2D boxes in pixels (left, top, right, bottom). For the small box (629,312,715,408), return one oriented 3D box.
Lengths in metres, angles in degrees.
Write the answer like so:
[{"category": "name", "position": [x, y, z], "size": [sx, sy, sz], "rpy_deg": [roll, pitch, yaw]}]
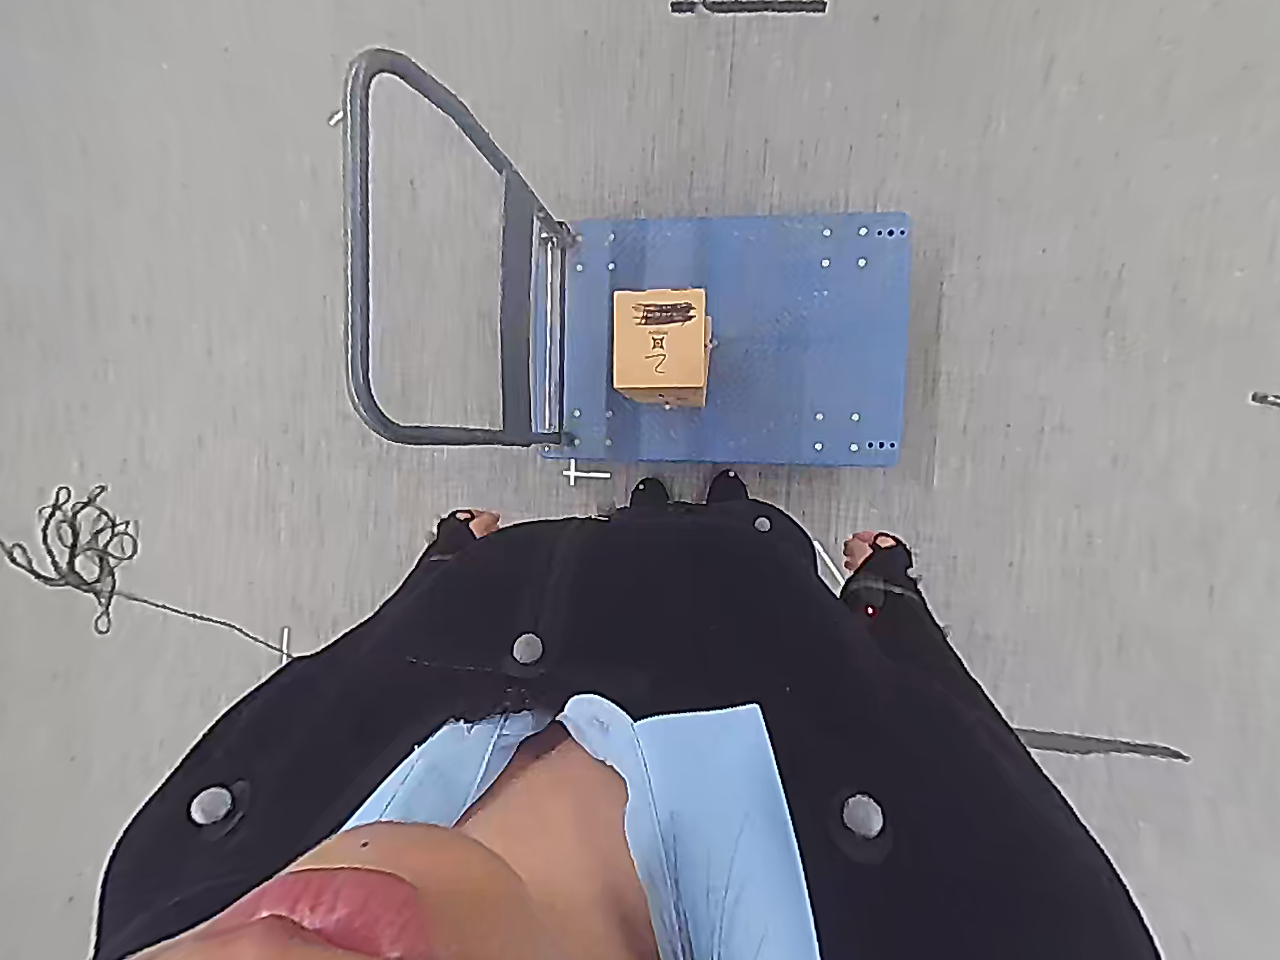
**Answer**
[{"category": "small box", "position": [0.074, -0.261, 1.205], "size": [0.168, 0.176, 0.179], "rpy_deg": [6, 94, 7]}]
